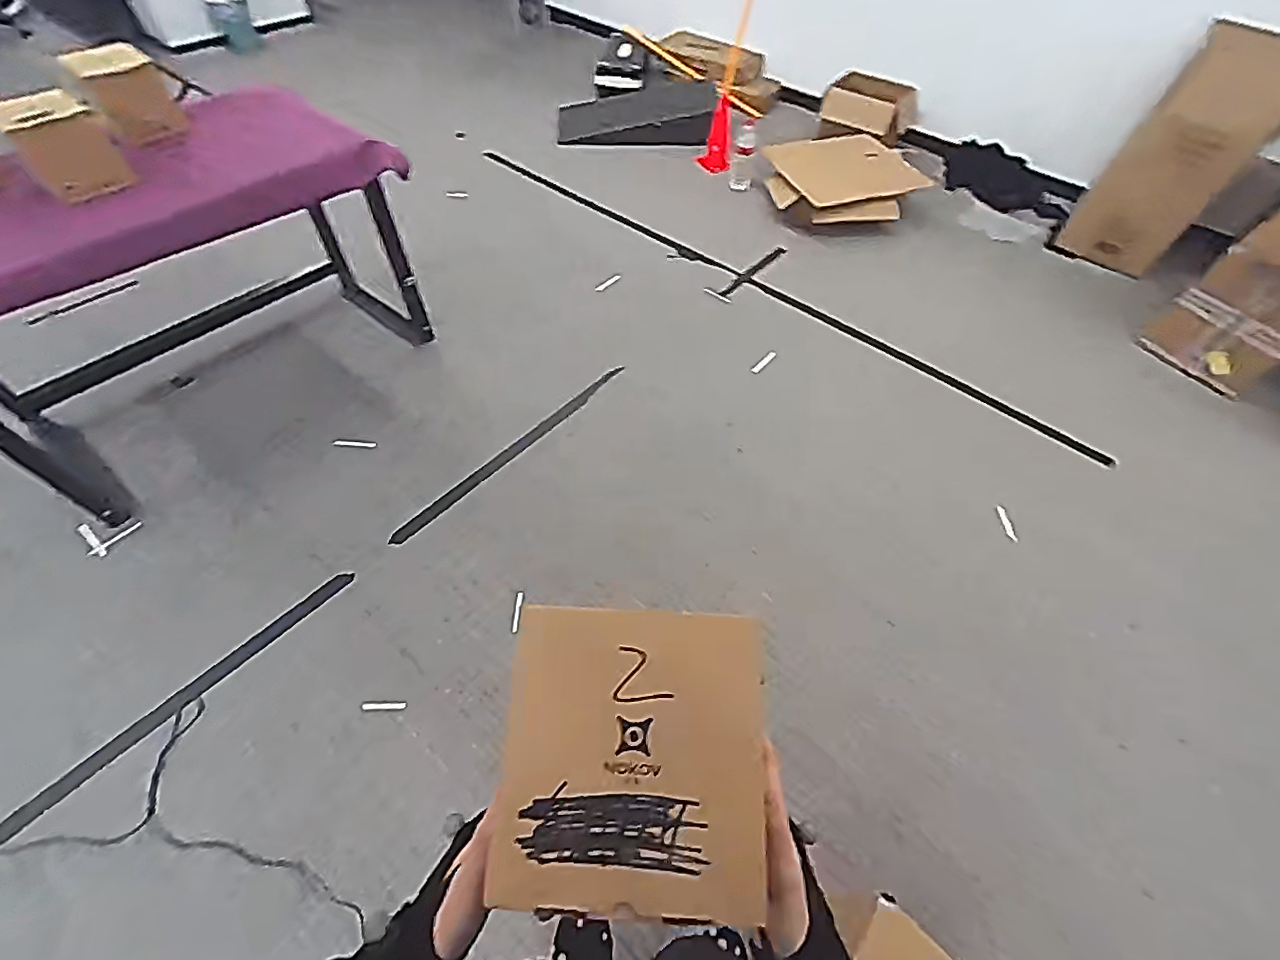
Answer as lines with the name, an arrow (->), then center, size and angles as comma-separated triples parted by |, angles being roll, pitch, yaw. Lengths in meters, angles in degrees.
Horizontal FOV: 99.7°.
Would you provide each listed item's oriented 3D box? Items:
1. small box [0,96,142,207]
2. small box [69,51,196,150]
small box -> -1.392, -0.801, 1.328 | 0.179, 0.176, 0.168 | 36, 60, 22
small box -> -1.402, -1.051, 1.504 | 0.179, 0.176, 0.168 | 36, 61, 20
